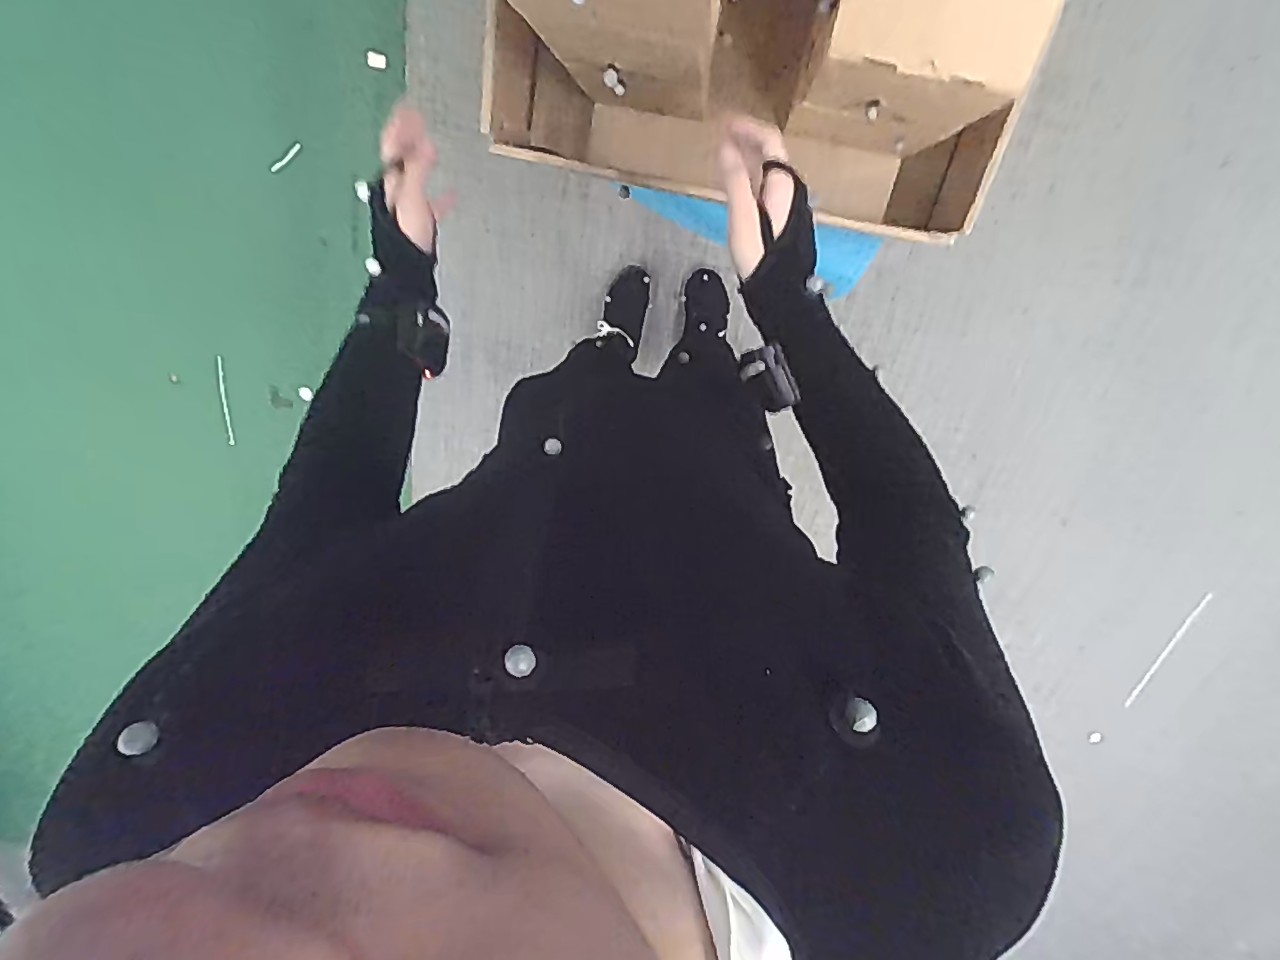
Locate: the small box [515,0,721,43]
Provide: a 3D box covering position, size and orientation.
[{"bbox_3d":[-0.016,-0.424,0.356,0.179,0.176,0.168,13,113,3],"label":"small box"}]

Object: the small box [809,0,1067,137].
[{"bbox_3d":[0.265,-0.438,0.485,0.168,0.176,0.179,14,114,3],"label":"small box"}]

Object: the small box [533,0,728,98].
[{"bbox_3d":[0.002,-0.493,0.503,0.168,0.176,0.179,14,114,2],"label":"small box"}]
